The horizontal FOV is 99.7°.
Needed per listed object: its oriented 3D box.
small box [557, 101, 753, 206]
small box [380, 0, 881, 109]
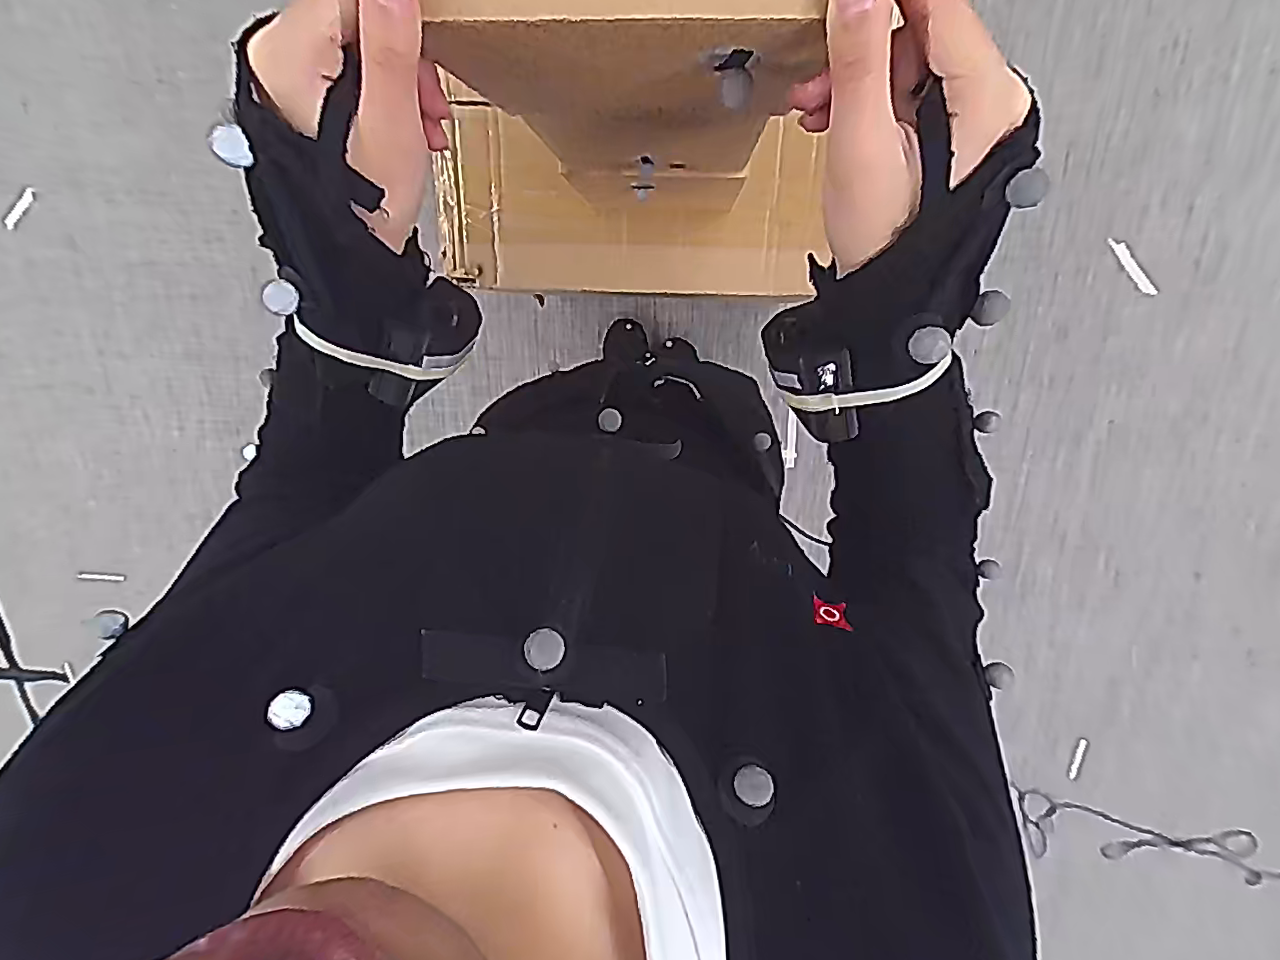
[{"bbox_3d":[0.020,-0.381,0.543,0.179,0.176,0.168,3,108,3],"label":"small box"},{"bbox_3d":[0.001,-0.267,0.220,0.179,0.176,0.168,2,114,3],"label":"small box"}]
